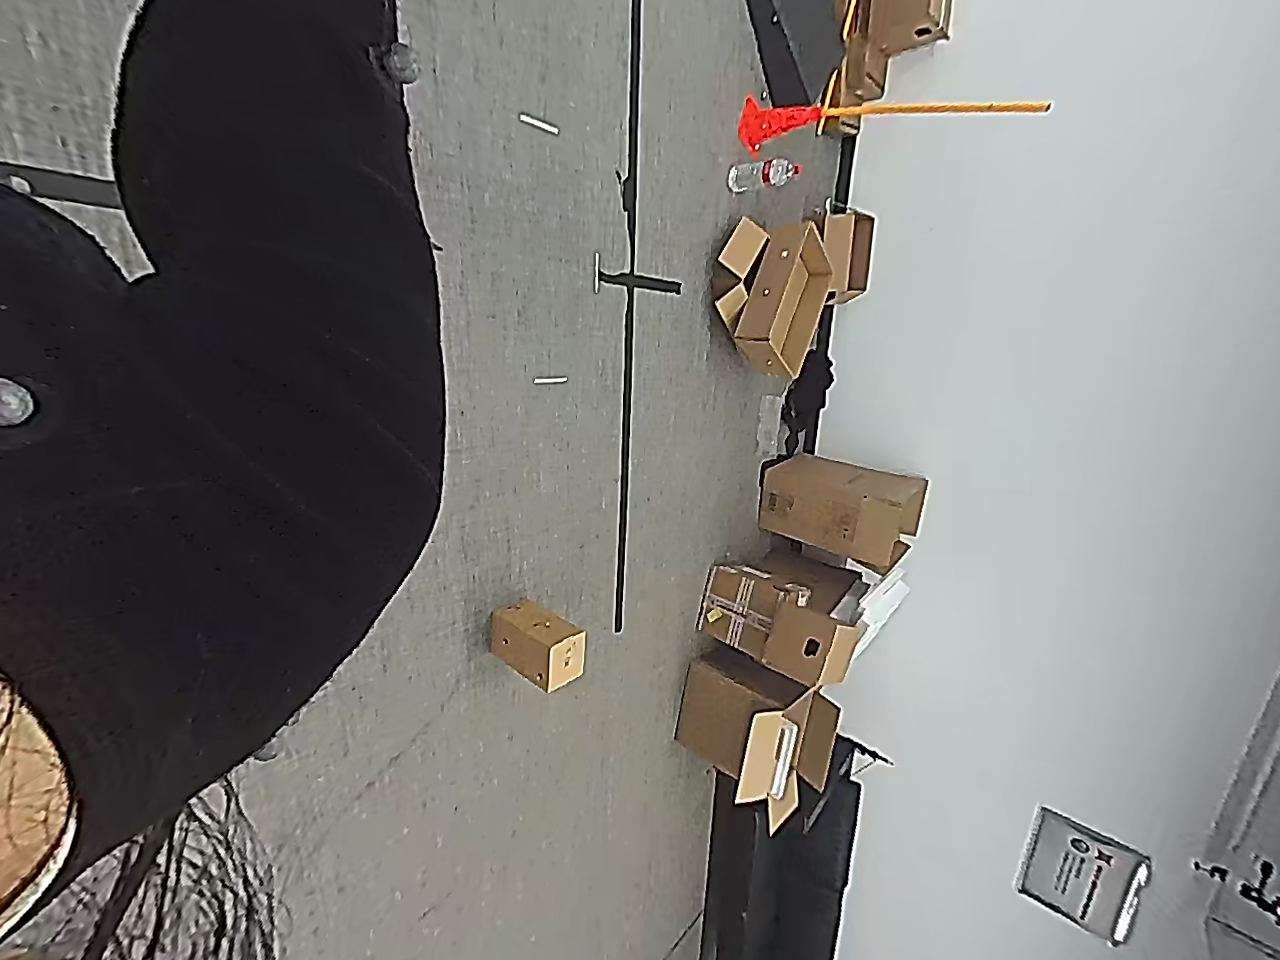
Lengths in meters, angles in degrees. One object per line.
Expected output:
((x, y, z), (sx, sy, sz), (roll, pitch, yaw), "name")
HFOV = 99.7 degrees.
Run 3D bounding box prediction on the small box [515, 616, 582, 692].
((-0.325, 0.604, 1.899), (0.168, 0.176, 0.179), (-11, 110, -50), "small box")
